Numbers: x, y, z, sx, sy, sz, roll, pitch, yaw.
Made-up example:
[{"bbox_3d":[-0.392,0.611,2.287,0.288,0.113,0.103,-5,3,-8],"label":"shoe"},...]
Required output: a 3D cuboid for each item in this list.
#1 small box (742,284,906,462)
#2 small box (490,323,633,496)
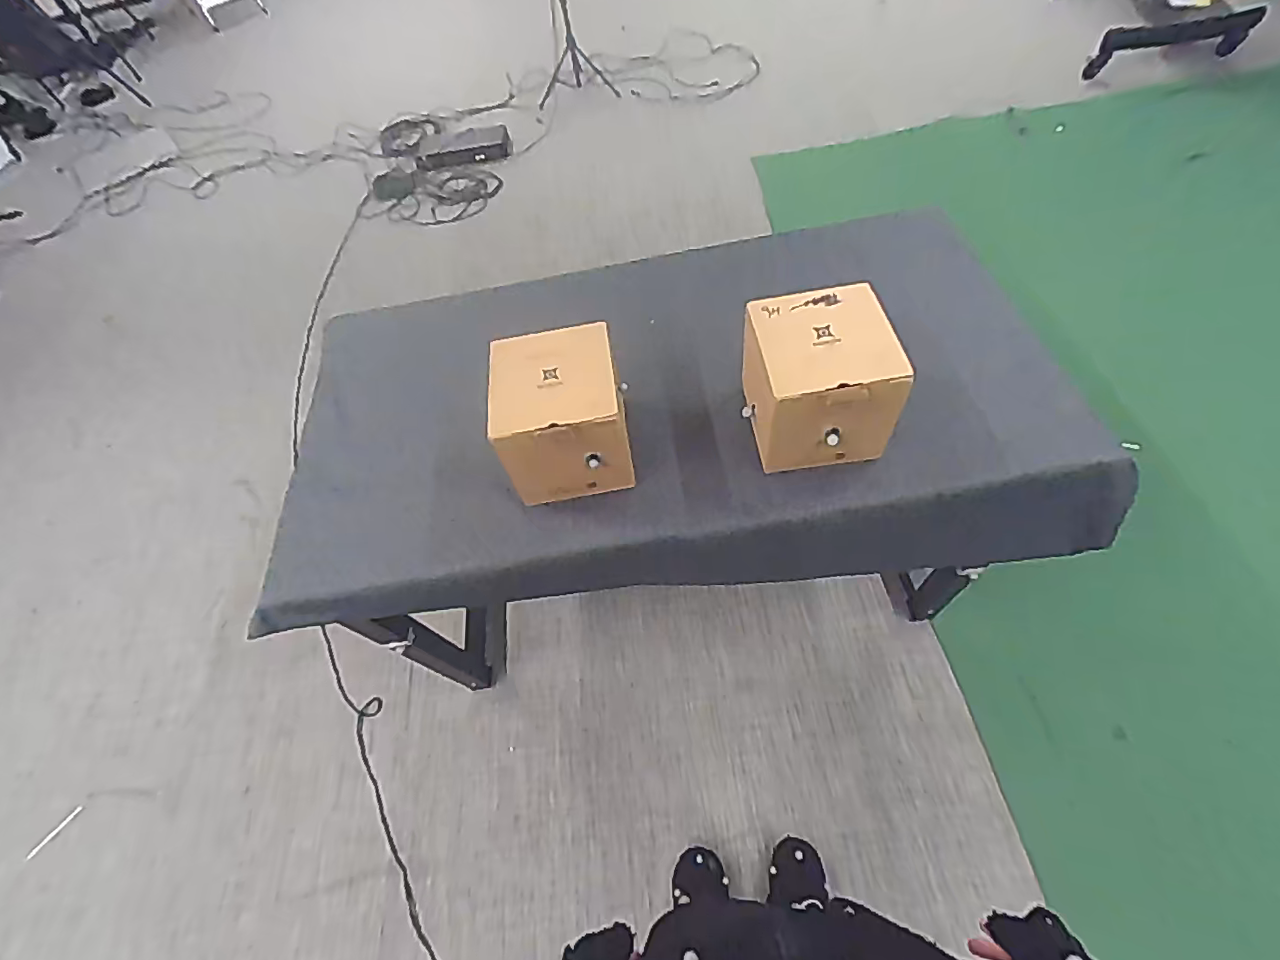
[{"bbox_3d":[0.240,-0.138,0.757,0.168,0.176,0.179,-8,58,3],"label":"small box"},{"bbox_3d":[-0.108,-0.092,0.779,0.168,0.176,0.179,-10,55,0],"label":"small box"}]
